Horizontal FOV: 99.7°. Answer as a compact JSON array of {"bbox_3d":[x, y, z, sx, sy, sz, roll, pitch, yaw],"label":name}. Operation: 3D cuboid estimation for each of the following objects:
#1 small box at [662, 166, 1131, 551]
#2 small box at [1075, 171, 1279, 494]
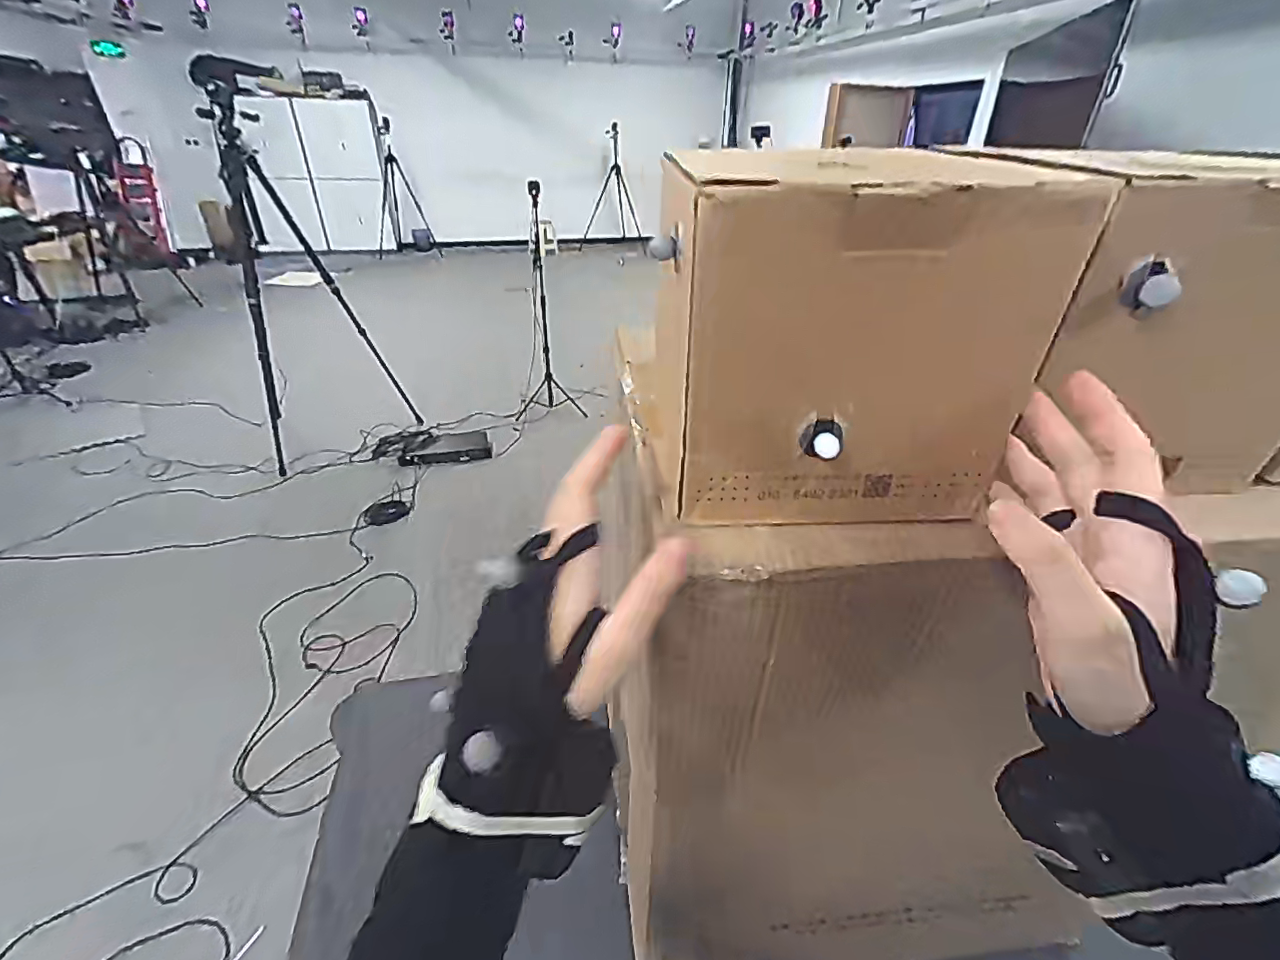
[{"bbox_3d":[0.103,-0.078,0.317,0.168,0.176,0.179,-1,35,-3],"label":"small box"},{"bbox_3d":[0.458,-0.099,0.363,0.168,0.176,0.179,-1,34,-8],"label":"small box"}]
